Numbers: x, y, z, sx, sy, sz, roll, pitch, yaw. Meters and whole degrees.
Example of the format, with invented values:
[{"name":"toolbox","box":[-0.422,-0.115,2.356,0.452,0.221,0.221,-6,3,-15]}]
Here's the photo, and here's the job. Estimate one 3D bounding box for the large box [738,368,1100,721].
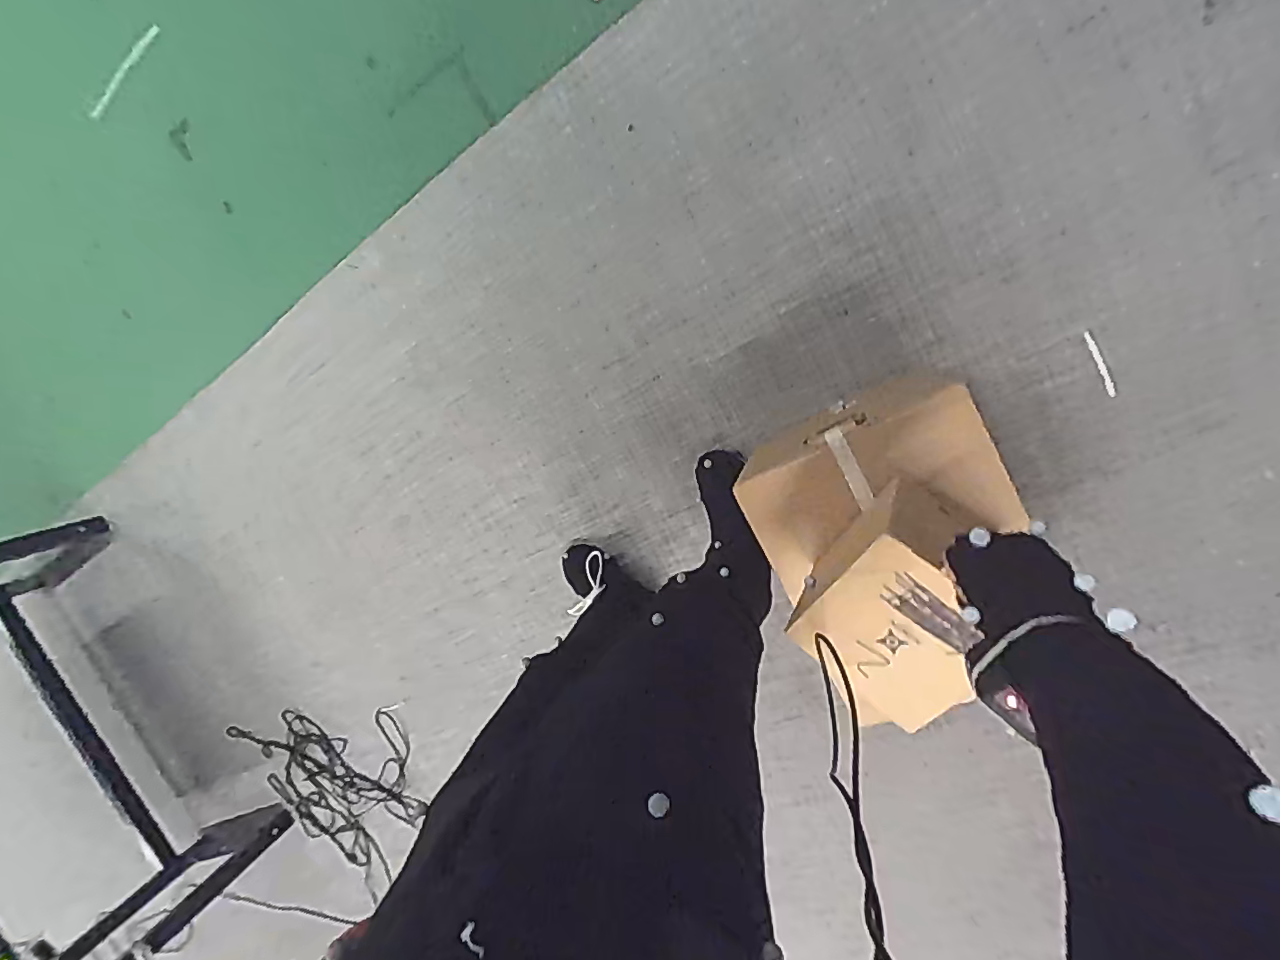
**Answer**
[{"name":"large box","box":[0.399,0.080,0.854,0.320,0.320,0.408,-27,96,23]}]
